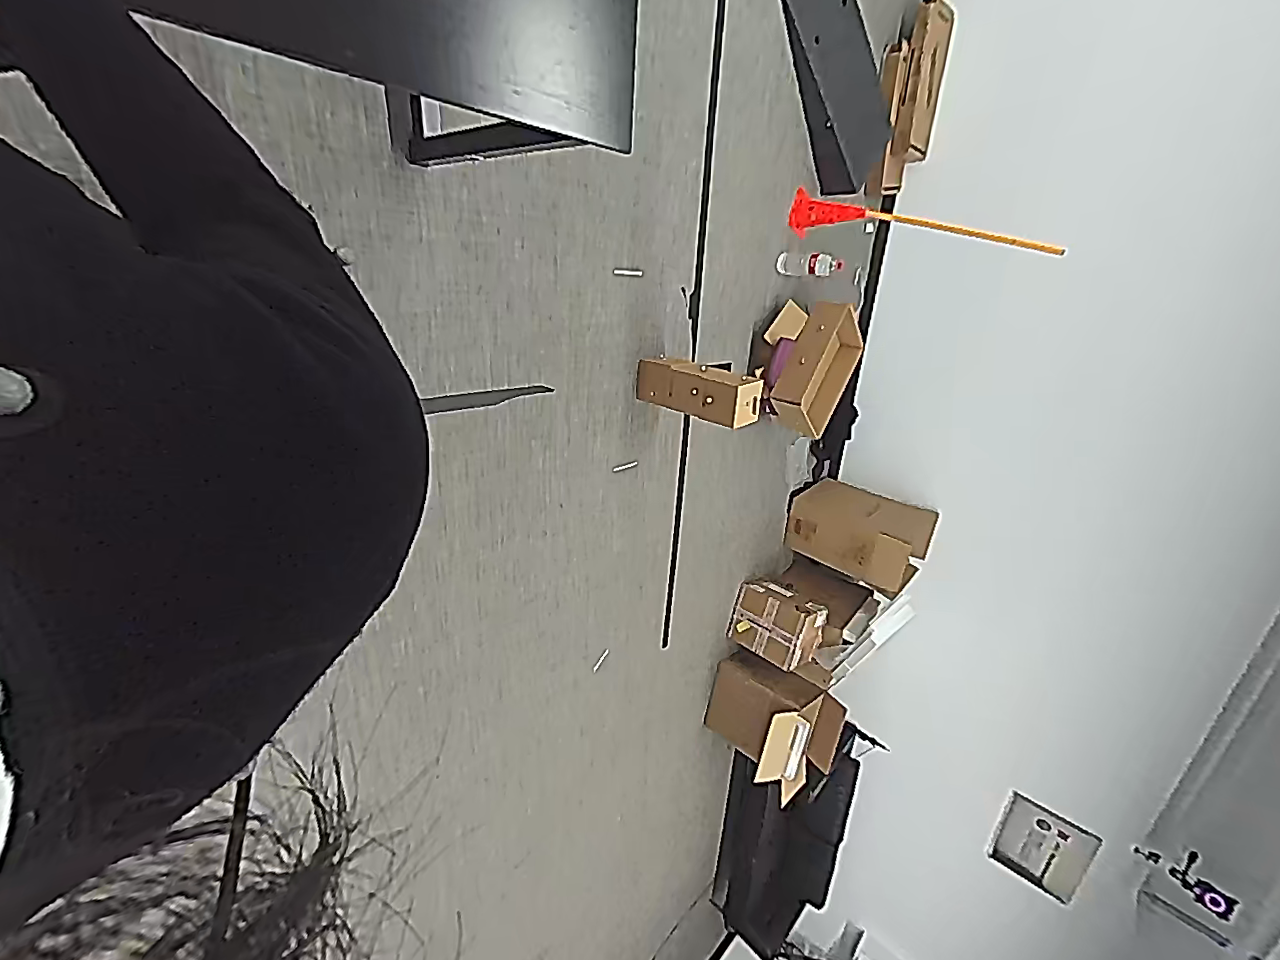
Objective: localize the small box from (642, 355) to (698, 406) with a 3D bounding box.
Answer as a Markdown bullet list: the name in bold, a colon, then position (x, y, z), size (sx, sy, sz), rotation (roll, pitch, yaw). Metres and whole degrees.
- **small box**: position (0.123, -0.422, 2.268), size (0.168, 0.176, 0.179), rotation (-20, 121, -44)

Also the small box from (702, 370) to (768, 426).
- **small box**: position (0.362, -0.319, 2.068), size (0.179, 0.176, 0.168), rotation (-21, 123, -43)

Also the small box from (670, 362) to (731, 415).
- **small box**: position (0.241, -0.372, 2.167), size (0.179, 0.176, 0.168), rotation (-22, 123, -44)
